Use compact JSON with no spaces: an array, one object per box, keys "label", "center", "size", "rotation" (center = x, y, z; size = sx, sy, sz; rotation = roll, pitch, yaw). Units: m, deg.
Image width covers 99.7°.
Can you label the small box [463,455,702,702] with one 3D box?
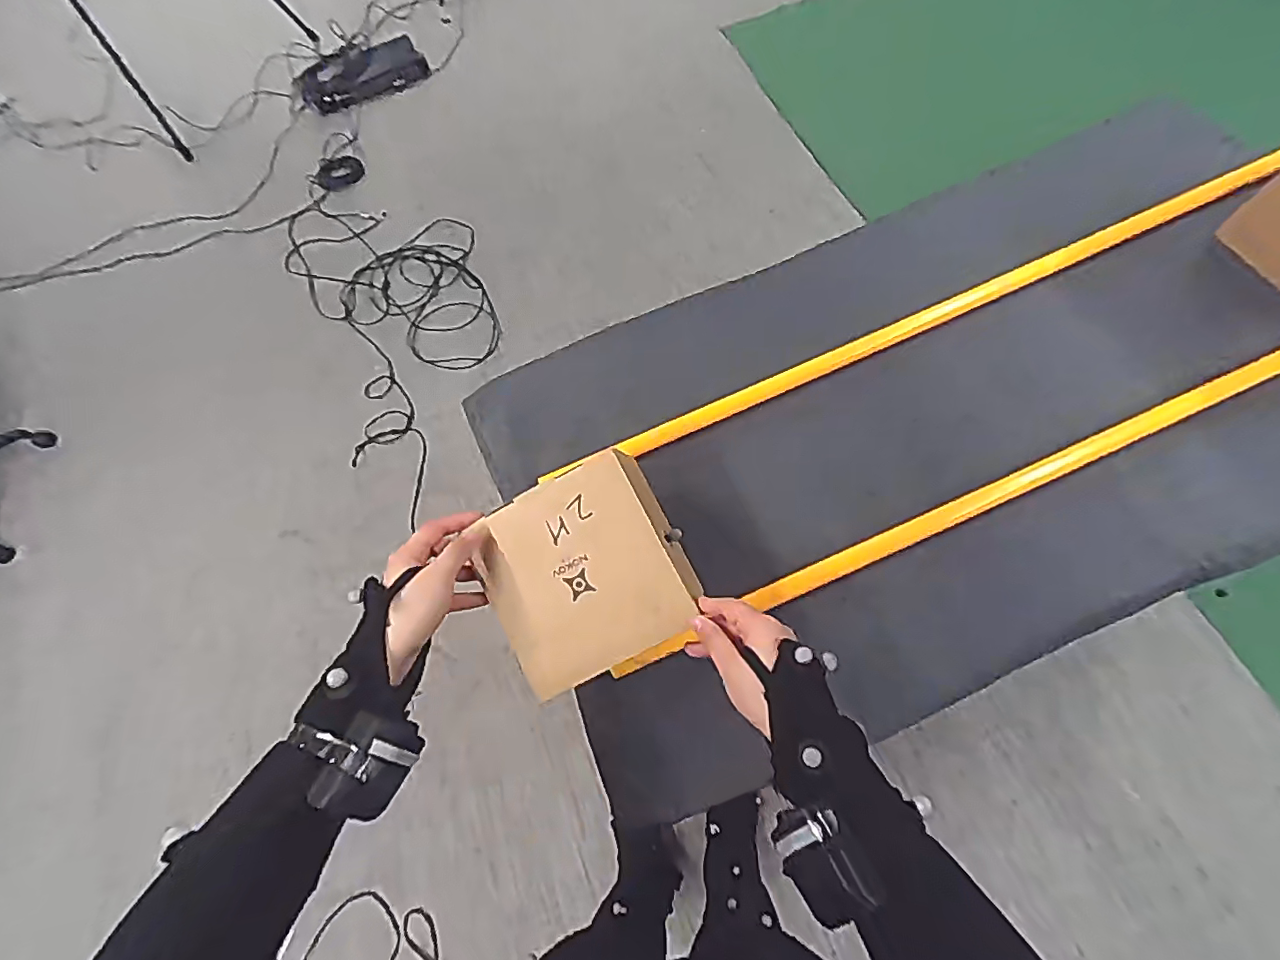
[{"label":"small box","center":[-0.045,0.090,0.563],"size":[0.168,0.176,0.179],"rotation":[-28,85,4]}]
